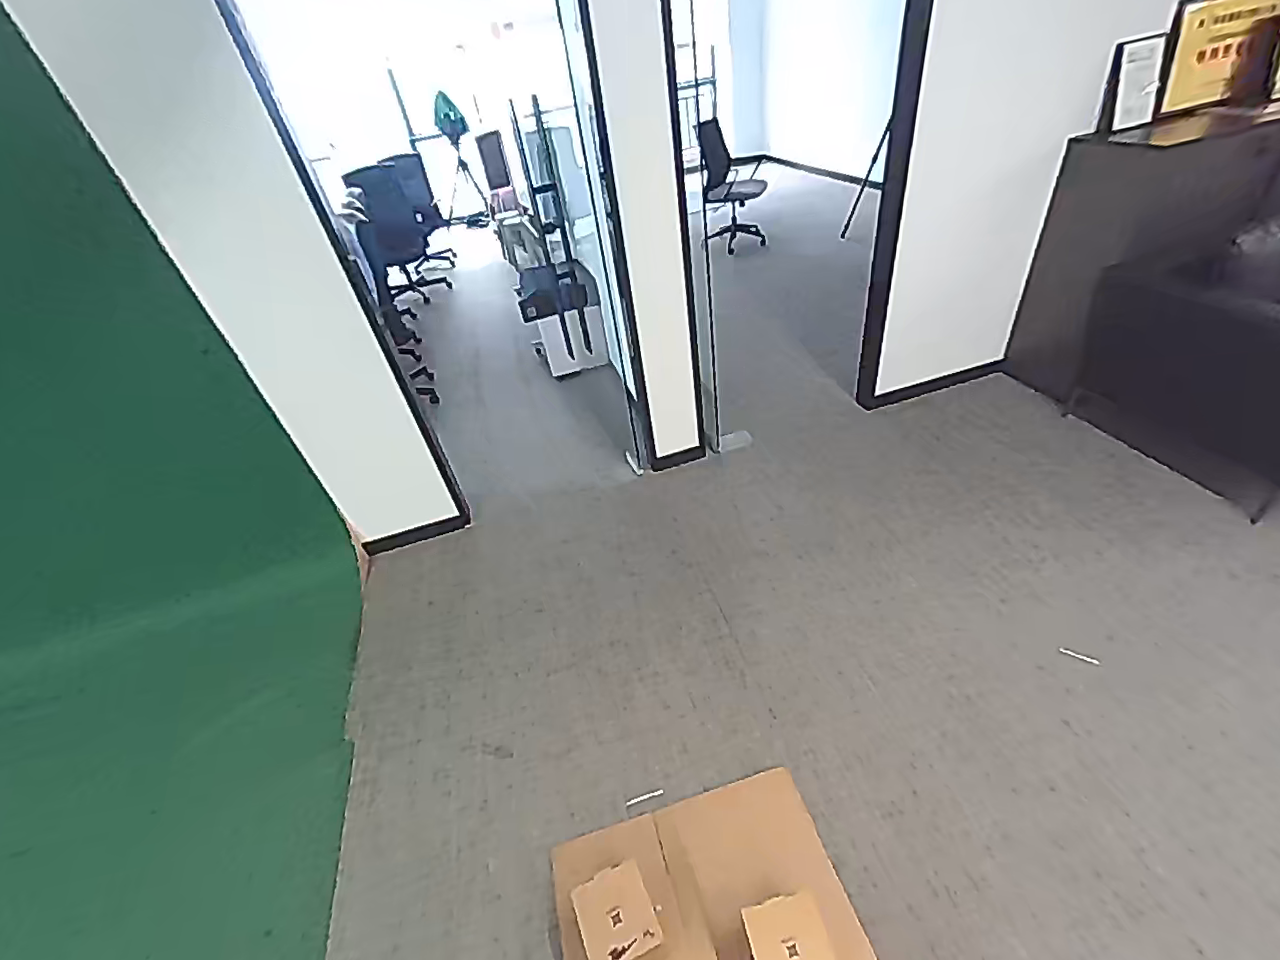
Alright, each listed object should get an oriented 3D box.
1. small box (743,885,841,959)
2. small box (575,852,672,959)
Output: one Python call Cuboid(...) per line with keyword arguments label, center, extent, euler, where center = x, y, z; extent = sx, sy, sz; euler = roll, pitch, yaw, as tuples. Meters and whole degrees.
Cuboid(label="small box", center=(0.332, 1.023, 1.169), extent=(0.168, 0.176, 0.179), euler=(-14, 38, -4))
Cuboid(label="small box", center=(-0.037, 1.022, 1.256), extent=(0.168, 0.176, 0.179), euler=(-20, 39, -13))
